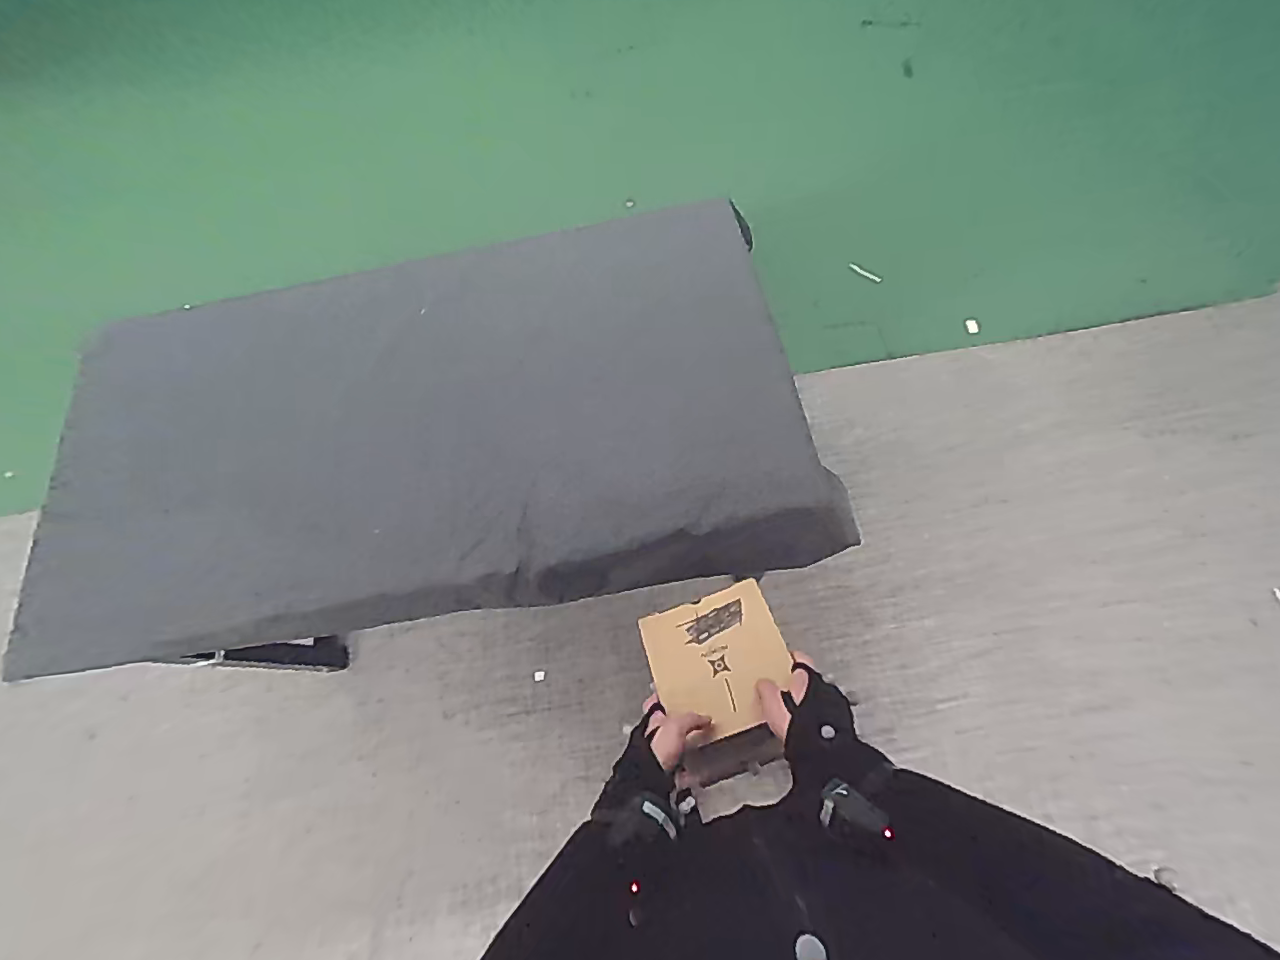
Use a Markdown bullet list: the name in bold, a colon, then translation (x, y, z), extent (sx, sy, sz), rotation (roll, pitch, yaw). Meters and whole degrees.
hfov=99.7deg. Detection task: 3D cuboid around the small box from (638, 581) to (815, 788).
- **small box**: translation (0.112, 0.267, 0.703), extent (0.168, 0.176, 0.179), rotation (-21, 46, 3)
